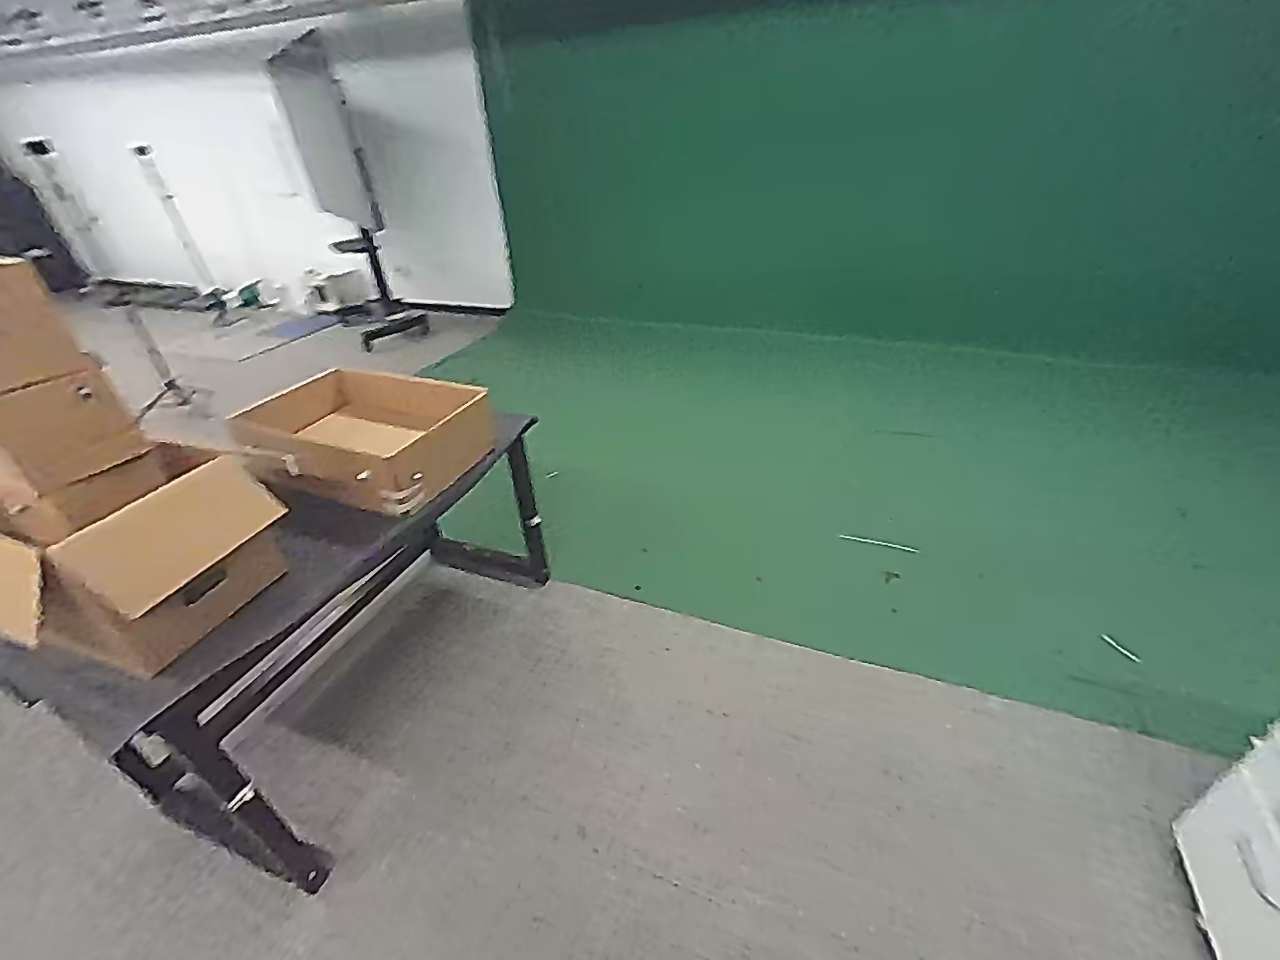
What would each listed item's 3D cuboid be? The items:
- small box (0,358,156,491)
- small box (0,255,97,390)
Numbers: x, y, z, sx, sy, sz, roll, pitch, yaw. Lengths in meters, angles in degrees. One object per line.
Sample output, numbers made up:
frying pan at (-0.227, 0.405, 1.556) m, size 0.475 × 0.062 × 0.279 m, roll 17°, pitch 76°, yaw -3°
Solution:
small box at (-0.995, -0.103, 0.917) m, size 0.168 × 0.176 × 0.179 m, roll 14°, pitch 37°, yaw 24°
small box at (-1.010, -0.236, 0.822) m, size 0.168 × 0.176 × 0.179 m, roll 14°, pitch 37°, yaw 22°
